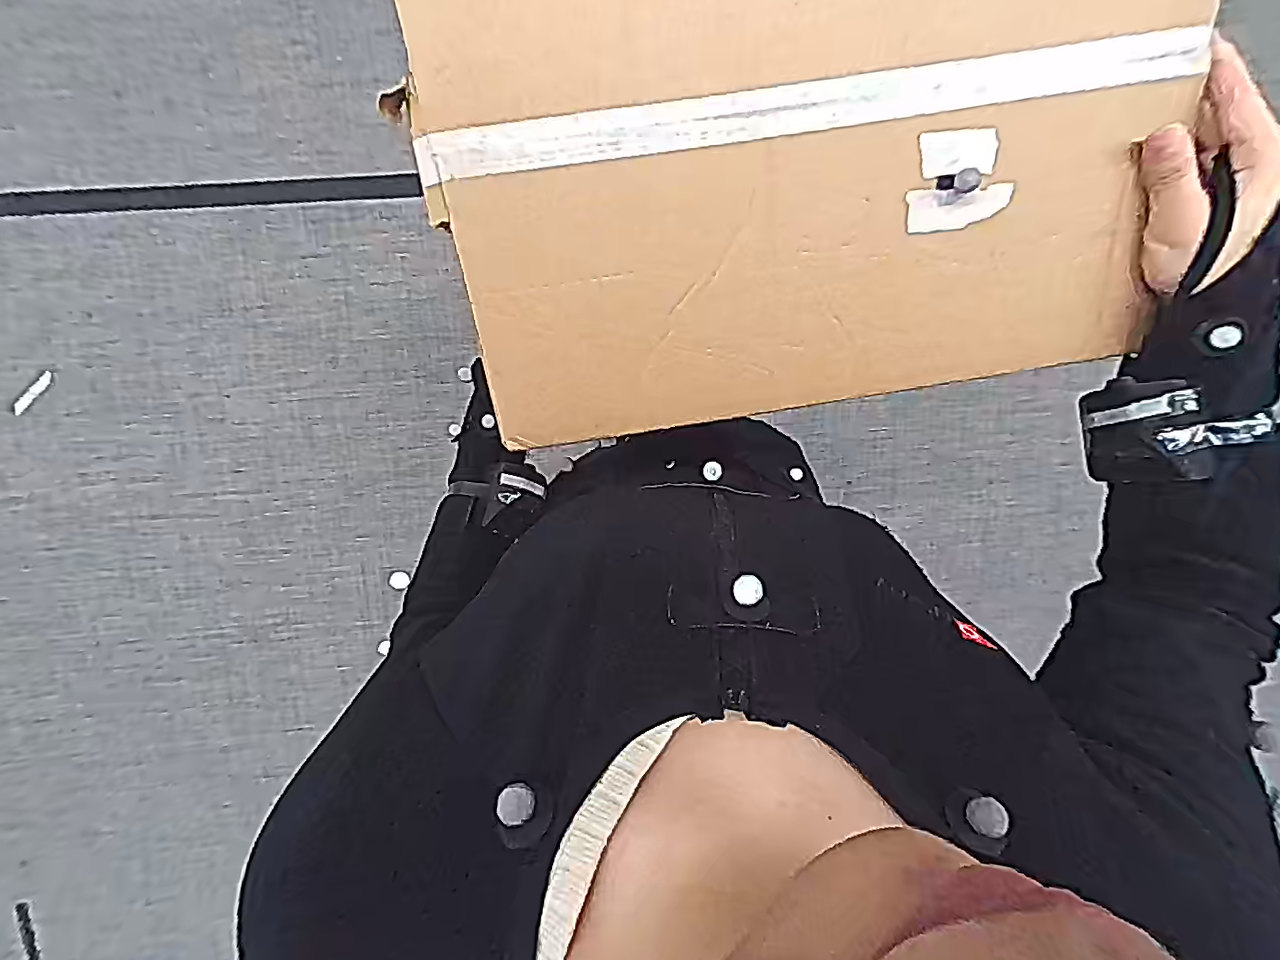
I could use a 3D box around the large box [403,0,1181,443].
[{"bbox_3d":[0.076,-0.248,0.426,0.408,0.320,0.320,-10,112,-4],"label":"large box"}]
